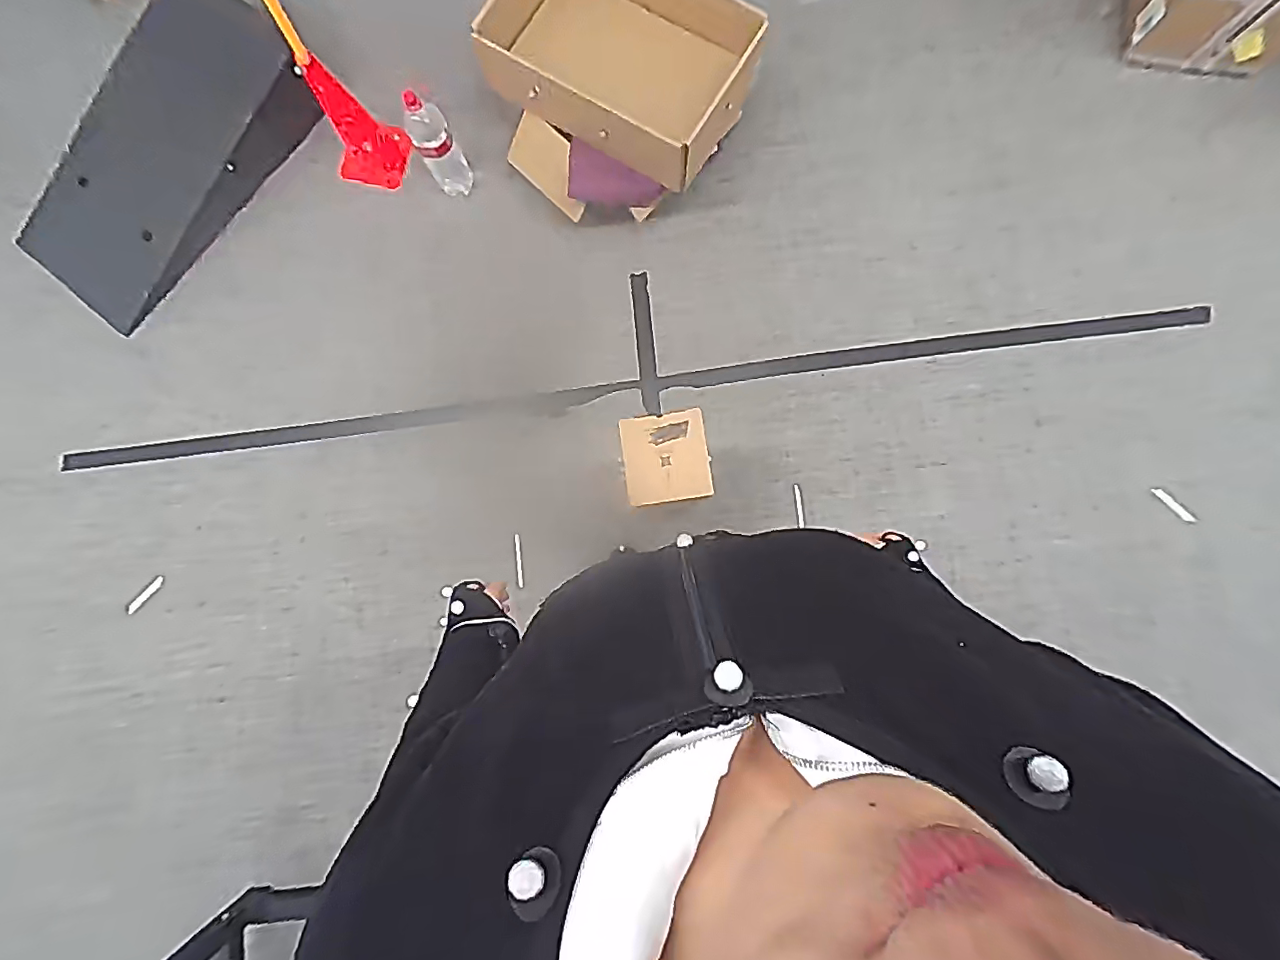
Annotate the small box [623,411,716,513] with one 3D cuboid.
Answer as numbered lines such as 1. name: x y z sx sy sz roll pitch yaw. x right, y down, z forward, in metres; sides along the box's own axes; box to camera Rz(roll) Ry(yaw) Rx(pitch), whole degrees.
1. small box: 0.057 -0.032 1.126 0.168 0.176 0.179 -8 84 1

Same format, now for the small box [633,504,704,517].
1. small box: 0.058 -0.012 1.290 0.168 0.176 0.179 -9 82 1
